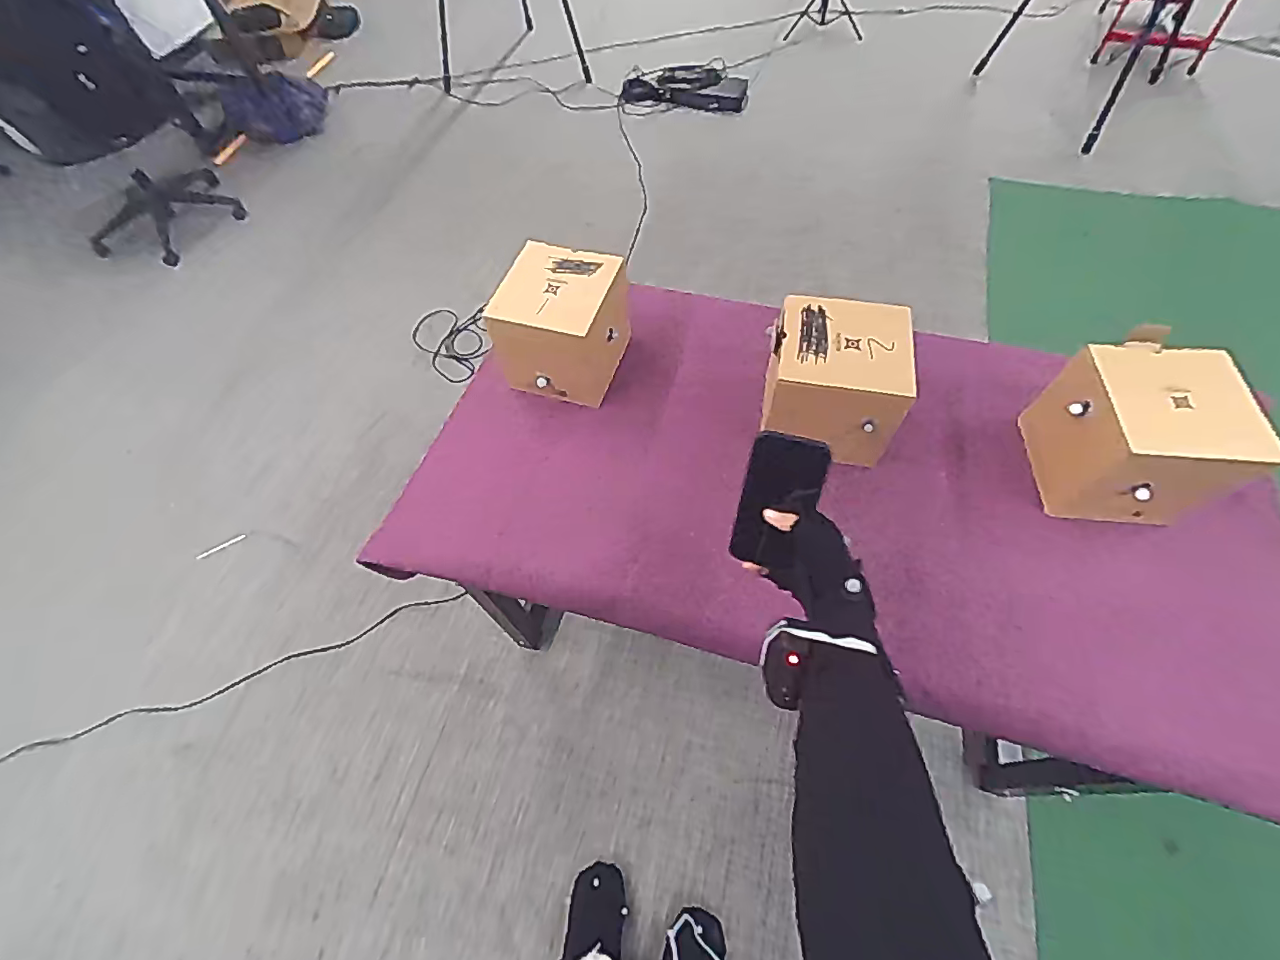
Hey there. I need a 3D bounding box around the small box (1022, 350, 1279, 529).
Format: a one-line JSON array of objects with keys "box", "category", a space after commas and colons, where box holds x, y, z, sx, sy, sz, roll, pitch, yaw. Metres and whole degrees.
[{"box": [0.654, -0.048, 0.719, 0.168, 0.176, 0.179, 4, 59, 6], "category": "small box"}]

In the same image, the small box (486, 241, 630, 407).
[{"box": [-0.119, -0.249, 0.875, 0.168, 0.176, 0.179, 15, 63, 11], "category": "small box"}]
